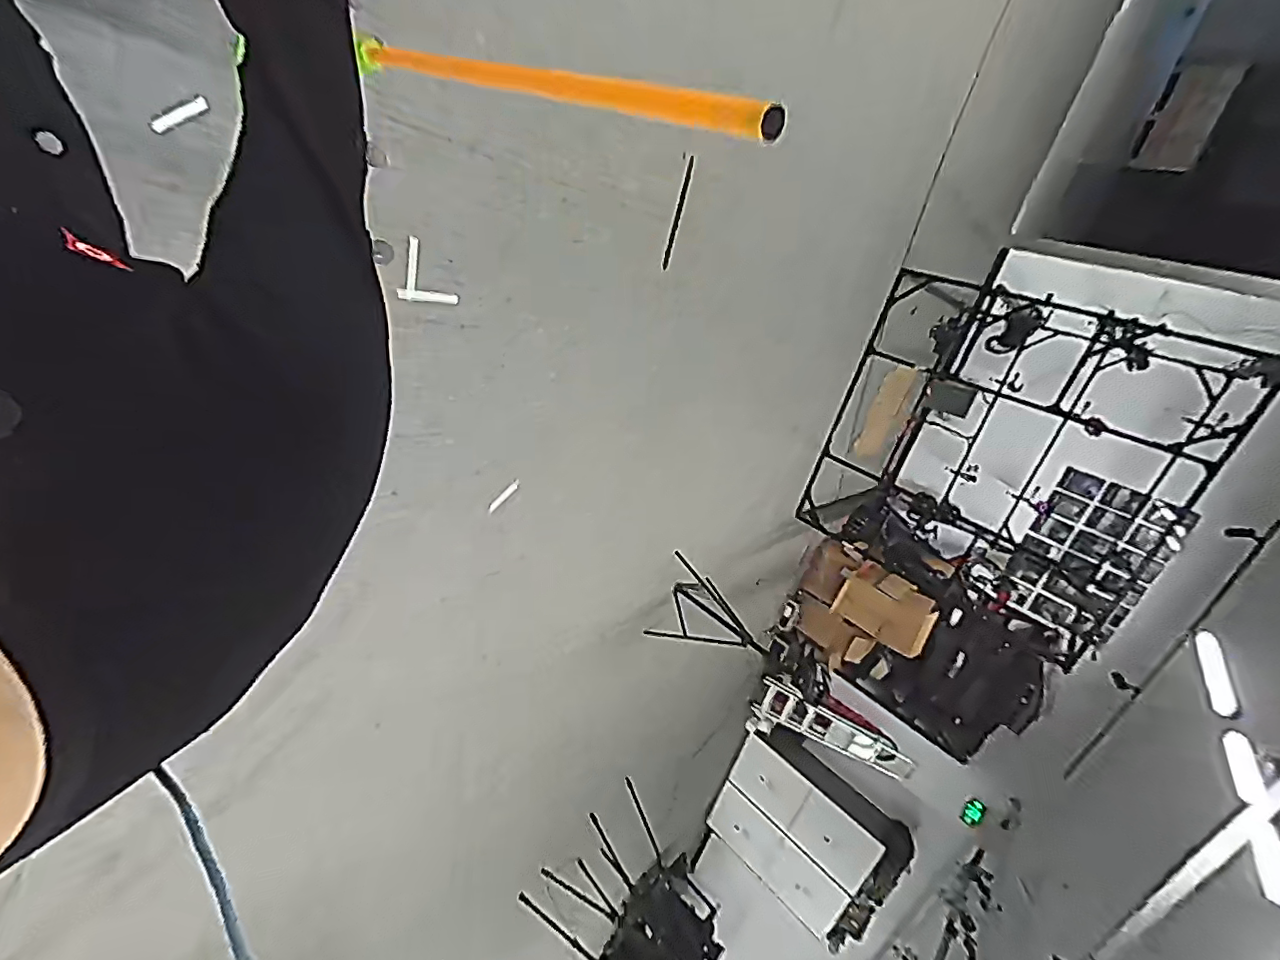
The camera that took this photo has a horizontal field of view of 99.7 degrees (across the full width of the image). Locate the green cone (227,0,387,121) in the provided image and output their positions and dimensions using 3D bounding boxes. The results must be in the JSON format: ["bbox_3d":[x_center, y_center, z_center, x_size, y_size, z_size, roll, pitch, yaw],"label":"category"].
[{"bbox_3d":[-0.569,-0.781,0.979,0.202,0.368,0.200,-6,121,-52],"label":"green cone"}]
